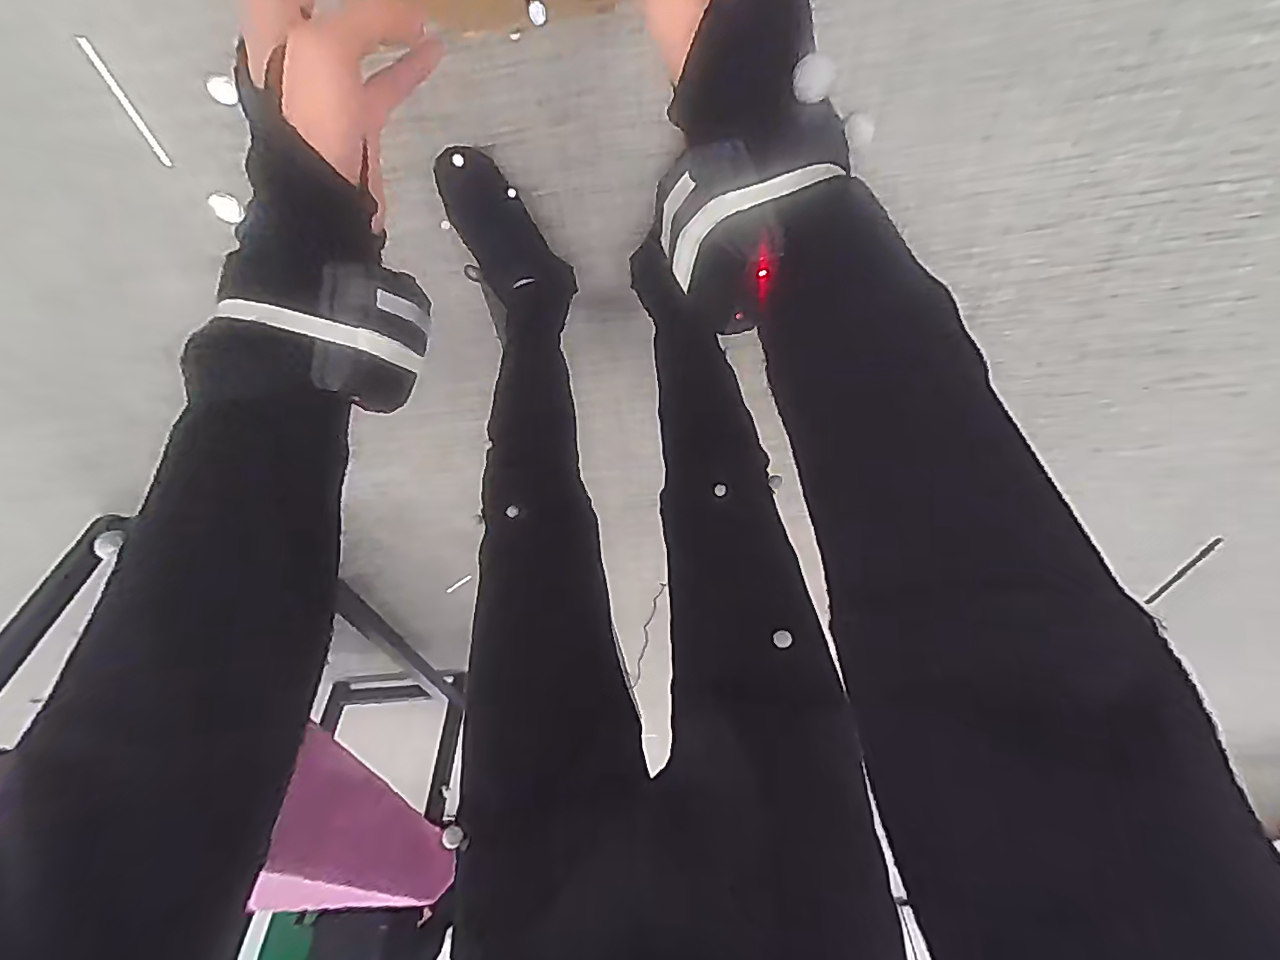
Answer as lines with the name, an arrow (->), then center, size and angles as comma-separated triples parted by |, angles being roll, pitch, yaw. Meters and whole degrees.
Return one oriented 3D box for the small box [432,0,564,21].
small box -> -0.072, -0.366, 0.268 | 0.168, 0.176, 0.179 | -7, 124, 6
